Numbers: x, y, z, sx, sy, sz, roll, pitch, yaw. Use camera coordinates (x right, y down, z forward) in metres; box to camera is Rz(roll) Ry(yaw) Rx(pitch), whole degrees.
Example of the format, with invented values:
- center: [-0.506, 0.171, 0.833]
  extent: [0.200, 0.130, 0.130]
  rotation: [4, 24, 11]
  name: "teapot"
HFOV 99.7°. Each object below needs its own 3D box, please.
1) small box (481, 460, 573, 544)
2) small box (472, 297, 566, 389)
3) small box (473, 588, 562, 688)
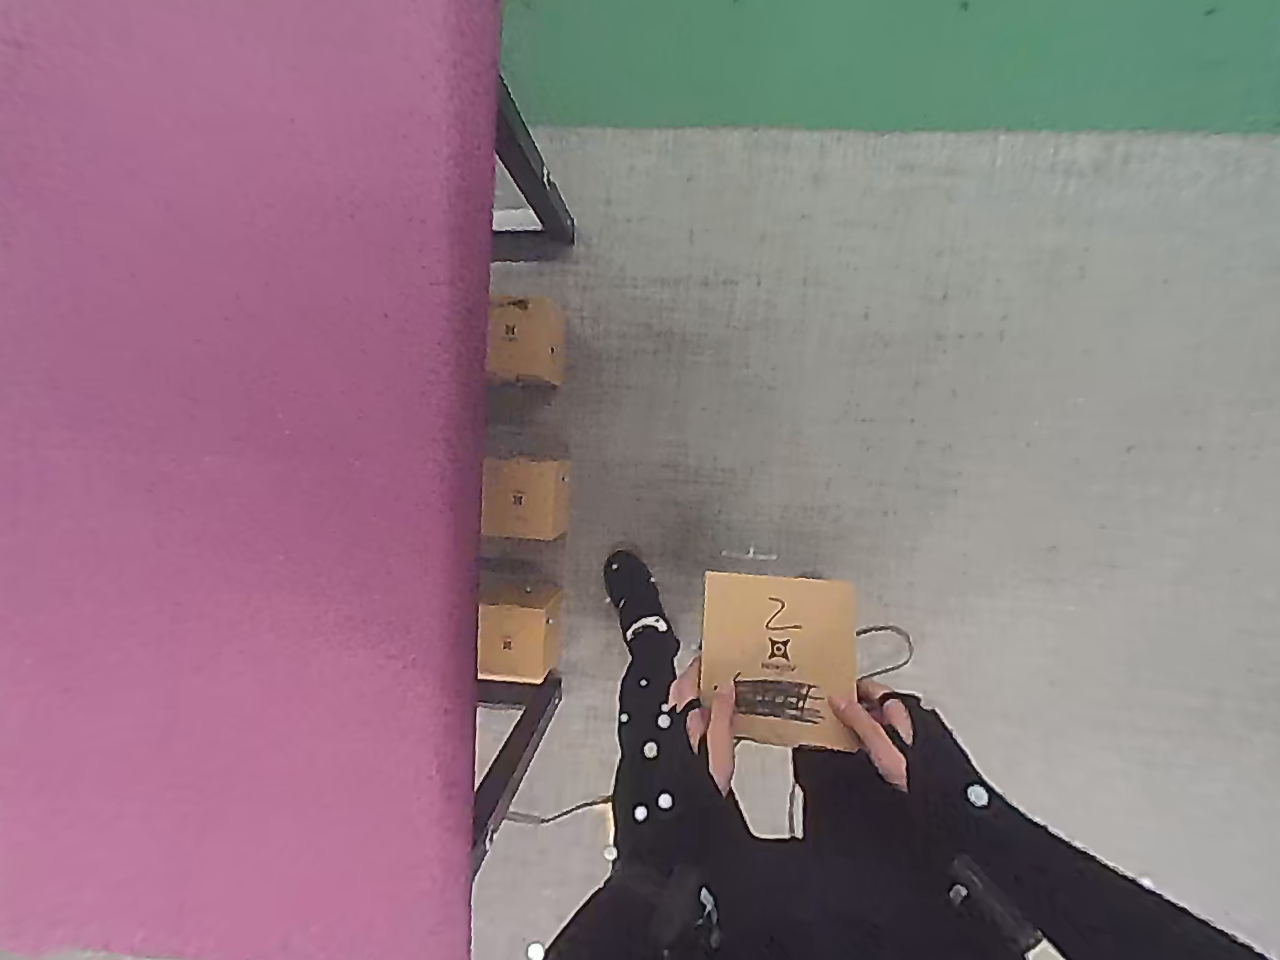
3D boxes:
- center: [-0.257, 0.045, 1.264]
  extent: [0.168, 0.176, 0.179]
  rotation: [3, 94, 6]
  name: "small box"
- center: [-0.272, -0.308, 1.246]
  extent: [0.168, 0.176, 0.179]
  rotation: [5, 94, 5]
  name: "small box"
- center: [-0.284, 0.369, 1.284]
  extent: [0.168, 0.176, 0.179]
  rotation: [2, 93, 6]
  name: "small box"
